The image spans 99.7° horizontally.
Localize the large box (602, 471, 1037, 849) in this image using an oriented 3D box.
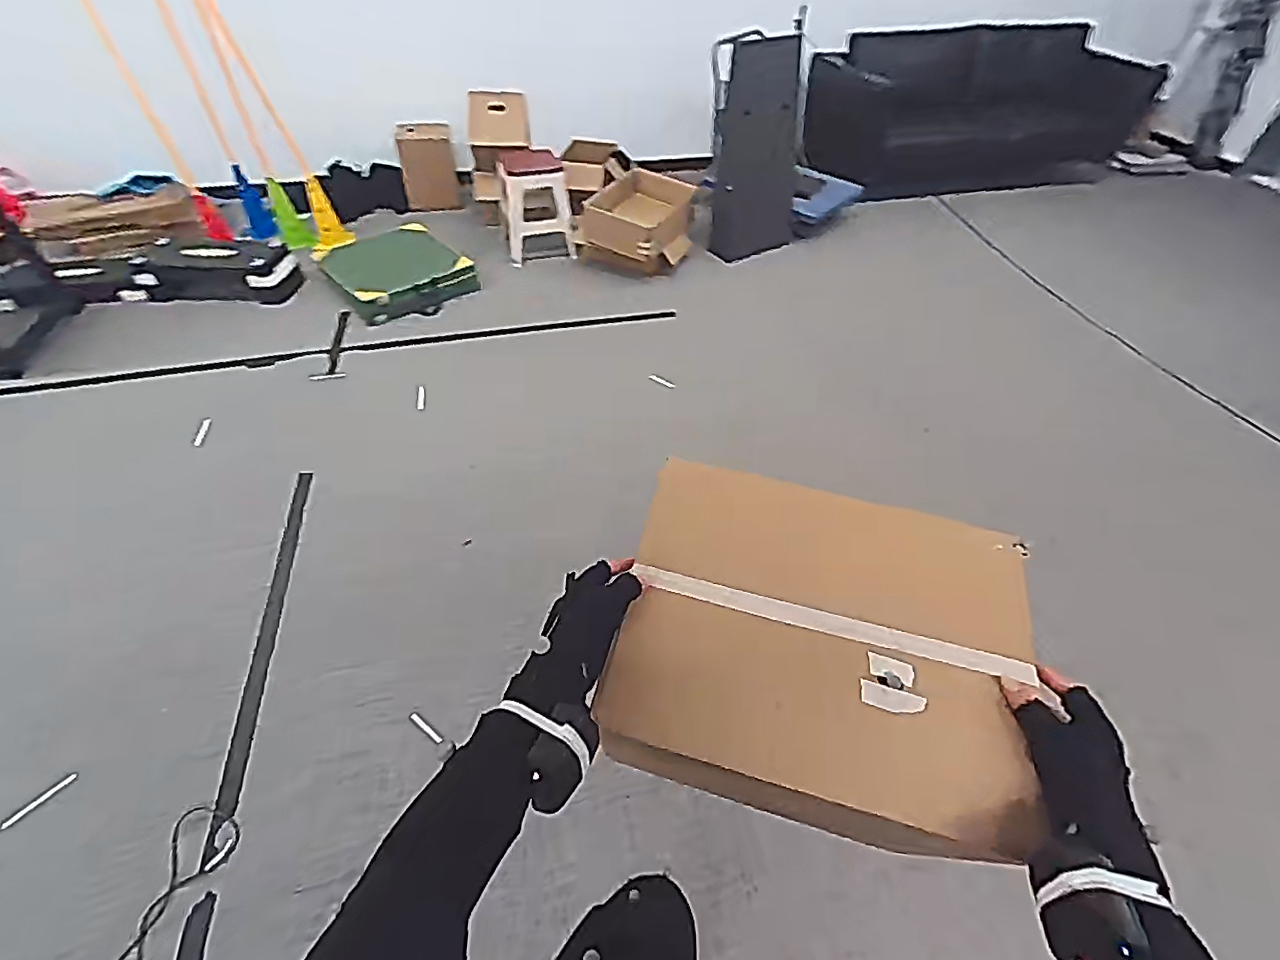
[{"bbox_3d":[0.188,0.232,0.694,0.408,0.320,0.320,13,60,8],"label":"large box"}]
